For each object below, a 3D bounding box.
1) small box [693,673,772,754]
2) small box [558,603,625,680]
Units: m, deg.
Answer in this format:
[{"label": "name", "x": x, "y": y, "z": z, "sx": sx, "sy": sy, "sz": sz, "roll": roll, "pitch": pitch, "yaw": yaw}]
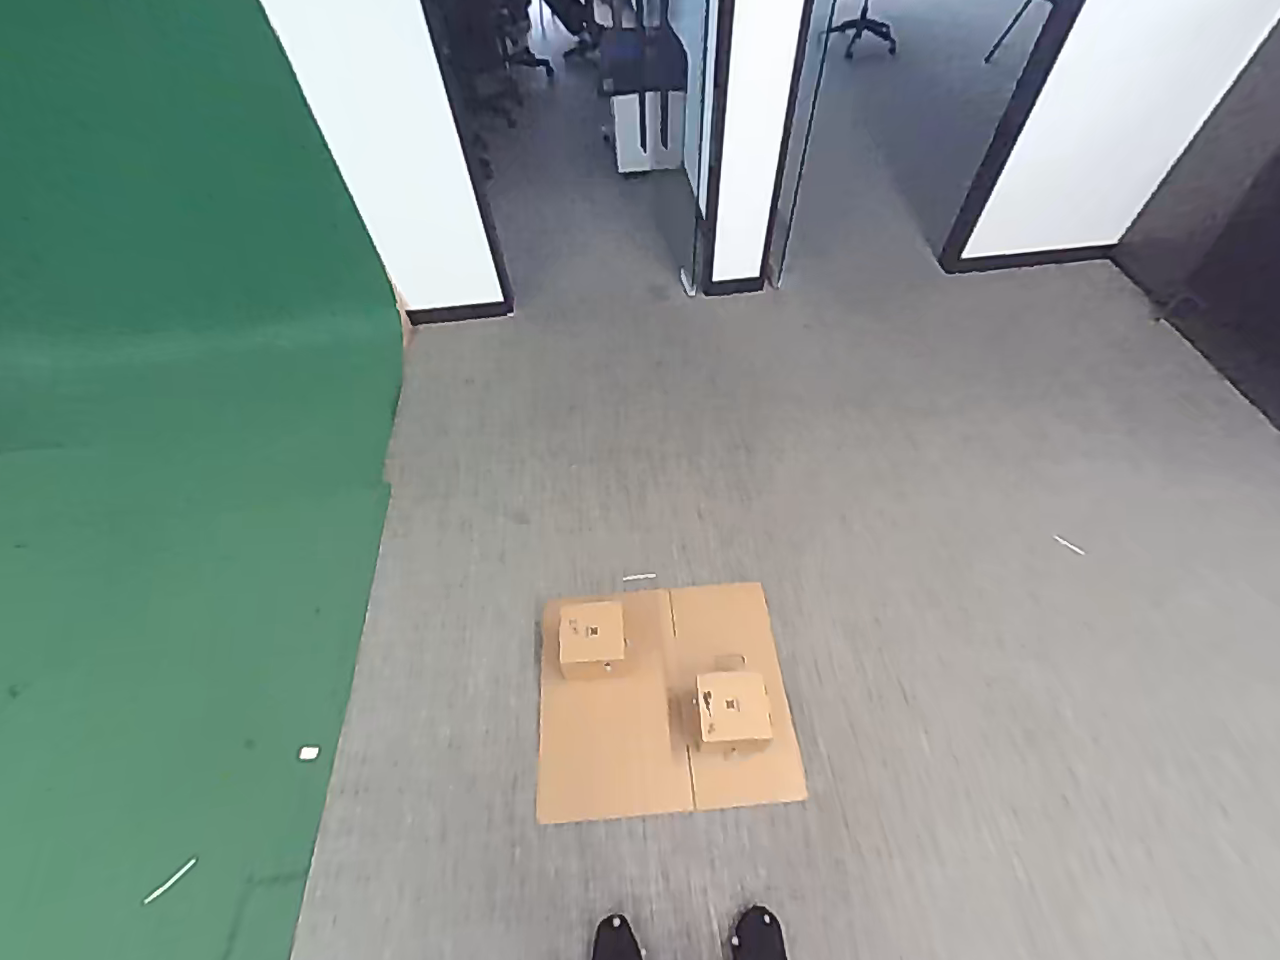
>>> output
[{"label": "small box", "x": 0.235, "y": 0.613, "z": 1.417, "sx": 0.179, "sy": 0.176, "sz": 0.168, "roll": -2, "pitch": 54, "yaw": 1}, {"label": "small box", "x": -0.131, "y": 0.460, "z": 1.535, "sx": 0.179, "sy": 0.176, "sz": 0.168, "roll": -4, "pitch": 54, "yaw": 0}]
